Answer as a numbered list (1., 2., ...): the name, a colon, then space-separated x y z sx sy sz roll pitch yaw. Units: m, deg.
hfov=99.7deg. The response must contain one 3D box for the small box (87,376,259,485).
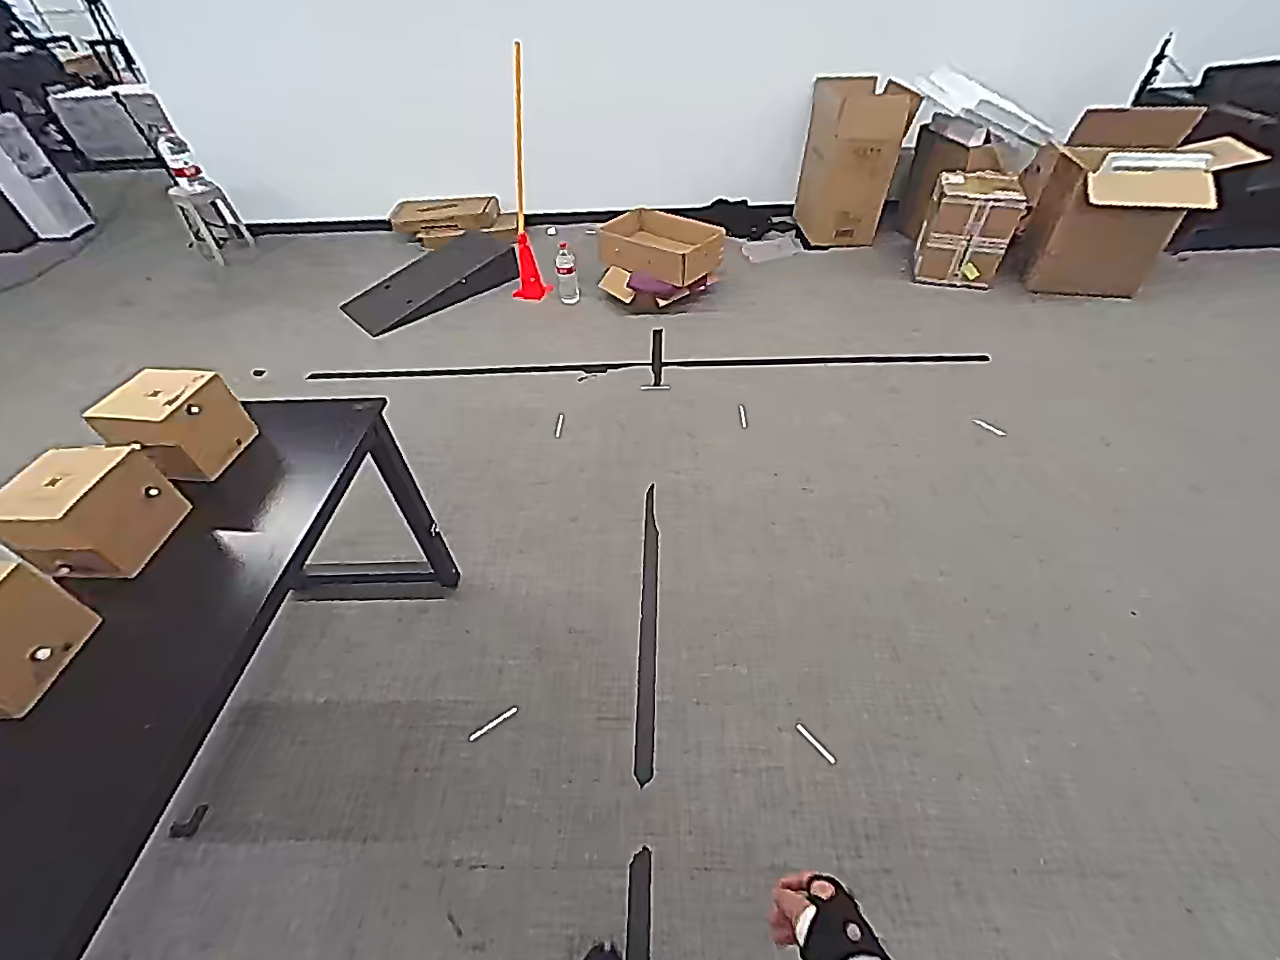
1. small box: -0.972 -0.103 1.145 0.179 0.176 0.168 2 46 7

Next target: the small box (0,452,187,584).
1. small box: -0.981 0.068 0.976 0.168 0.176 0.179 -2 46 4

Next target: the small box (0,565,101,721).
1. small box: -0.987 0.242 0.798 0.179 0.176 0.168 -1 45 2
